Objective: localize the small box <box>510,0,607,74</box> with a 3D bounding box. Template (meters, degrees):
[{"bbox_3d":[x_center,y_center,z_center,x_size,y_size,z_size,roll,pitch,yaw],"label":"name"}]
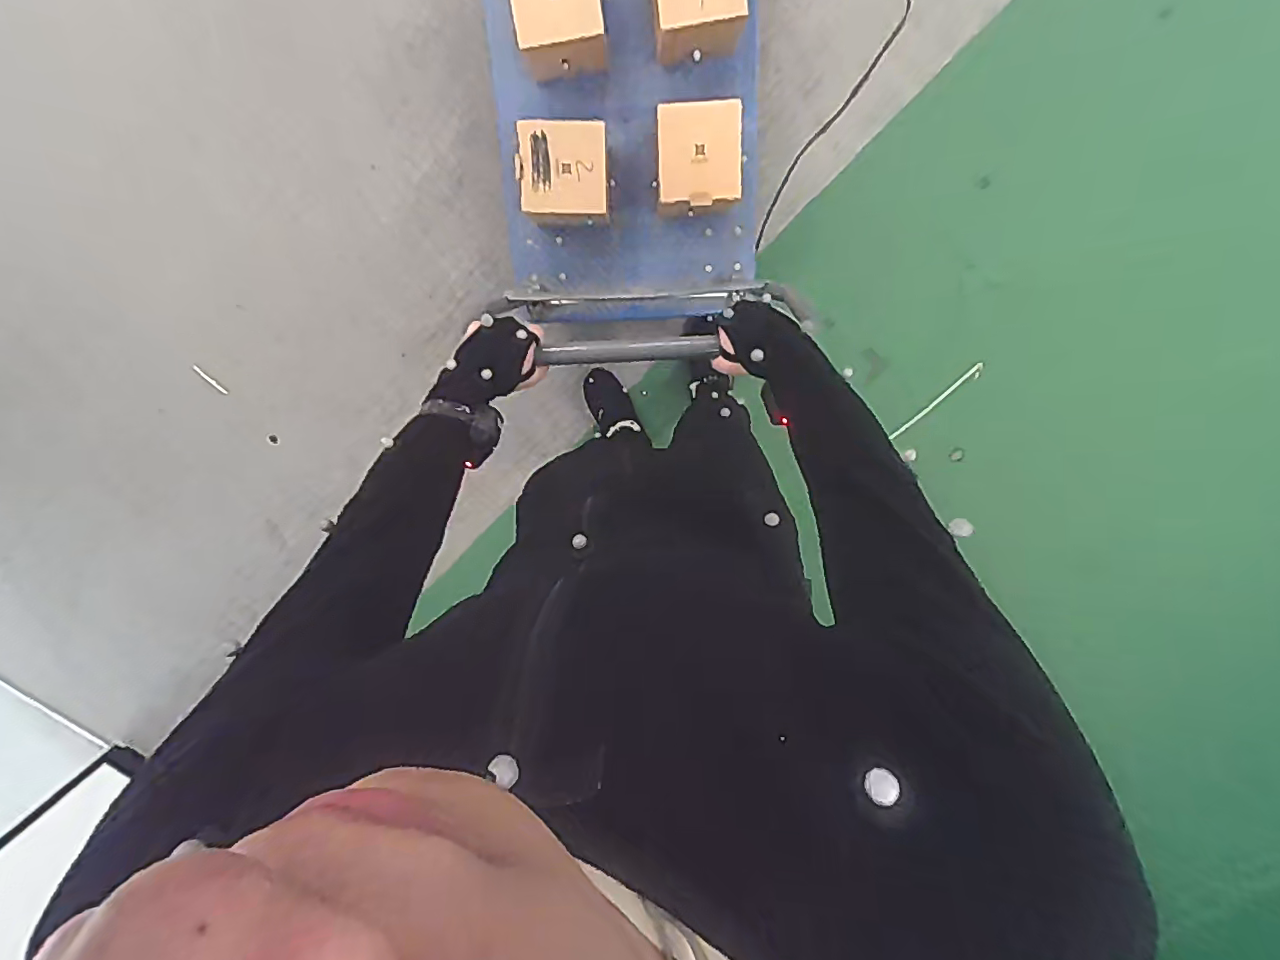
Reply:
[{"bbox_3d":[-0.159,-0.926,1.055,0.168,0.176,0.179,-8,108,2],"label":"small box"}]

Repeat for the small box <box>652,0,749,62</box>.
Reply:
[{"bbox_3d":[0.109,-0.954,1.045,0.168,0.176,0.179,-7,109,3],"label":"small box"}]

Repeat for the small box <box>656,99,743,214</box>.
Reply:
[{"bbox_3d":[0.120,-0.674,1.142,0.168,0.176,0.179,-3,109,1],"label":"small box"}]
